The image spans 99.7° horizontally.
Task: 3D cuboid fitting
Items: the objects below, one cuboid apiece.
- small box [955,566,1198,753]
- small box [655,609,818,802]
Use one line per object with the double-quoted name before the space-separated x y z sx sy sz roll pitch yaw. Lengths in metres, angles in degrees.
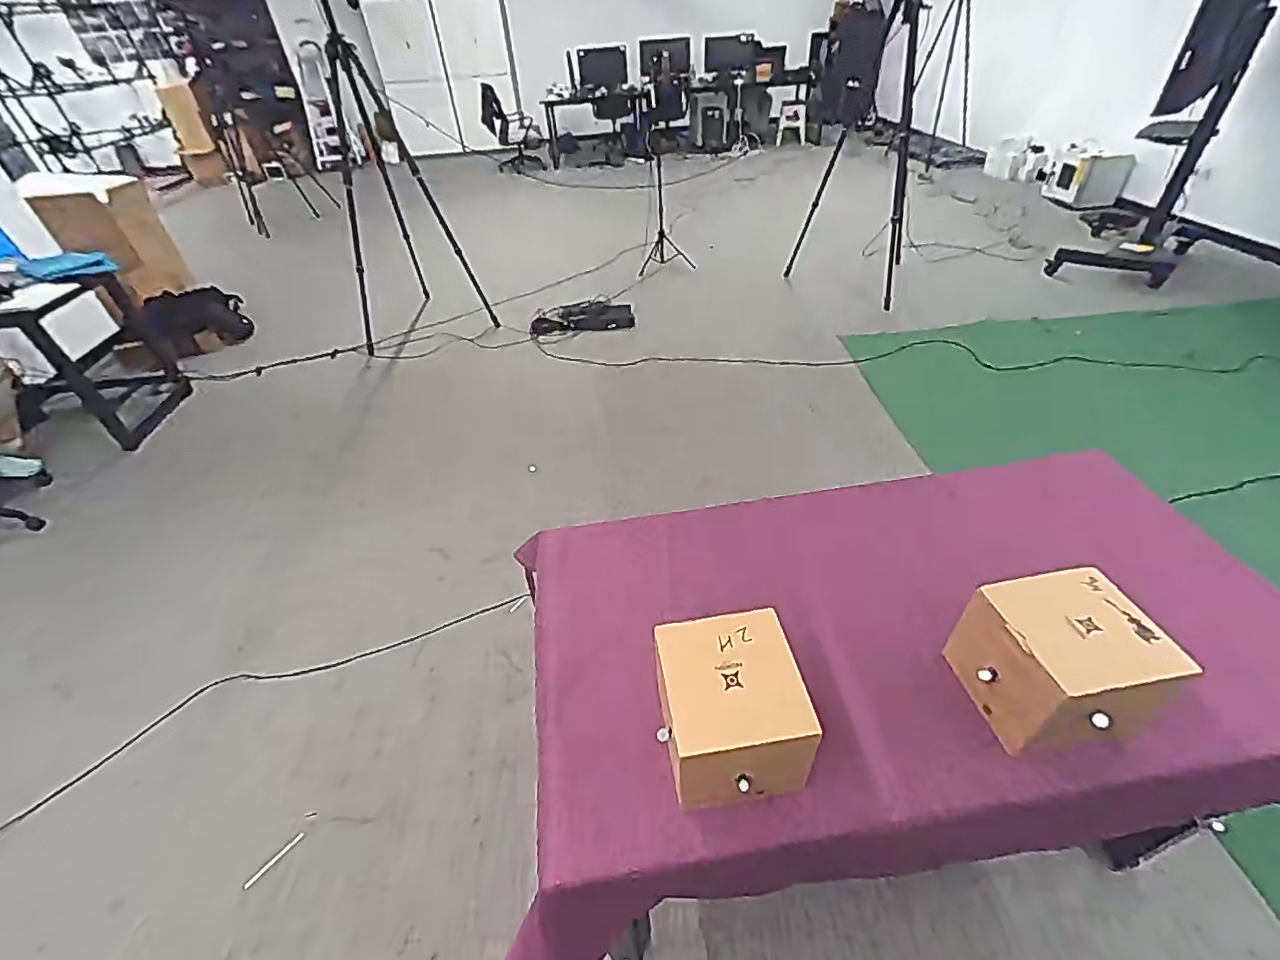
"small box" 0.560 0.244 0.731 0.179 0.176 0.168 -9 41 -3
"small box" 0.116 0.301 0.713 0.168 0.176 0.179 -7 40 -4
